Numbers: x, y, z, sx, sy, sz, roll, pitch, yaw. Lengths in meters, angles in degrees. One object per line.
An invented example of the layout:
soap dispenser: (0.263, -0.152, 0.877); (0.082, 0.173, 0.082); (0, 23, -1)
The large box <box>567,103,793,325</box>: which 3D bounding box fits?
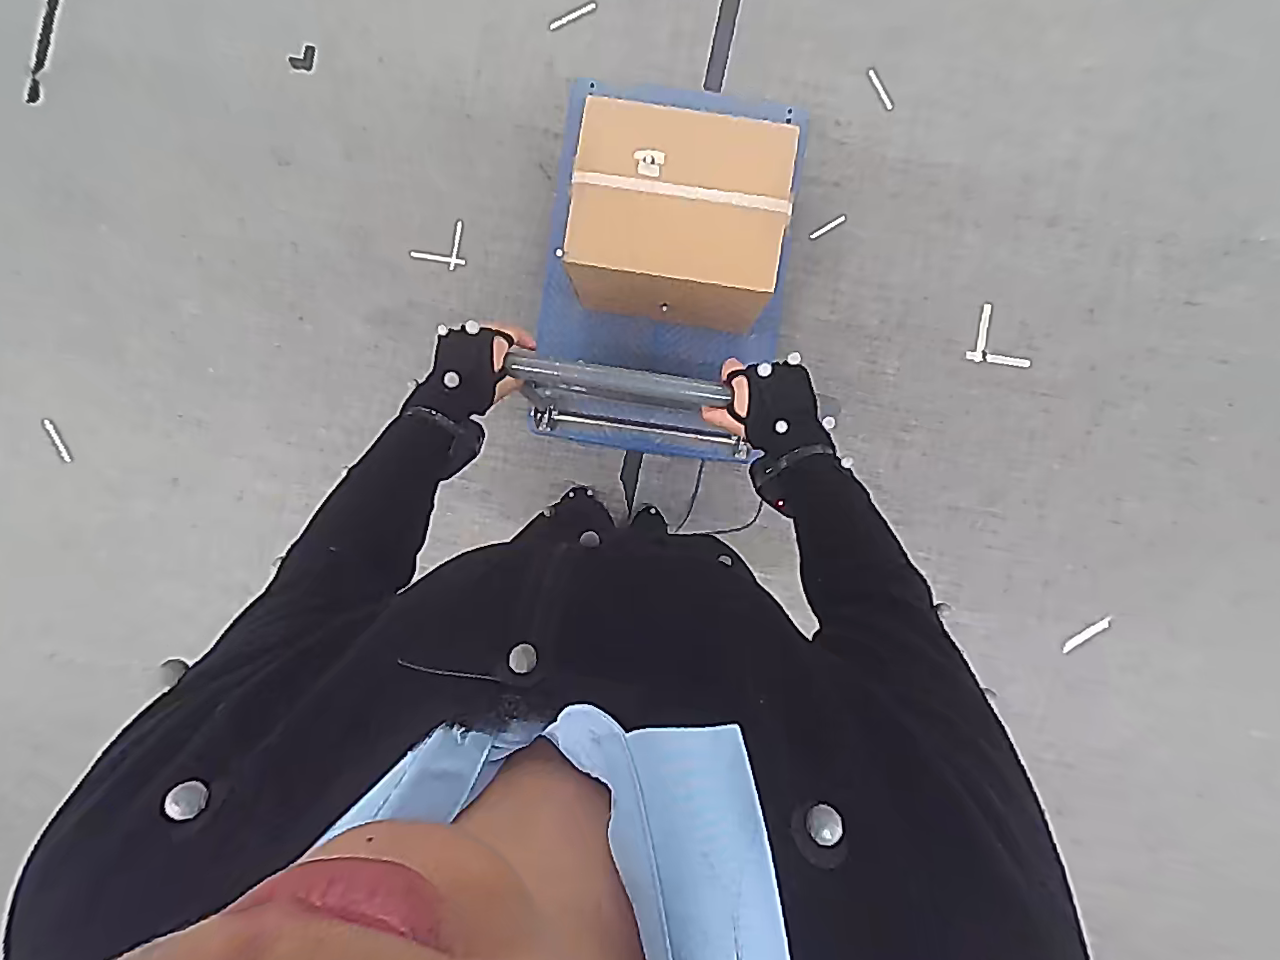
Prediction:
large box: (0.082, -0.547, 1.176); (0.408, 0.320, 0.320); (9, 90, 2)
